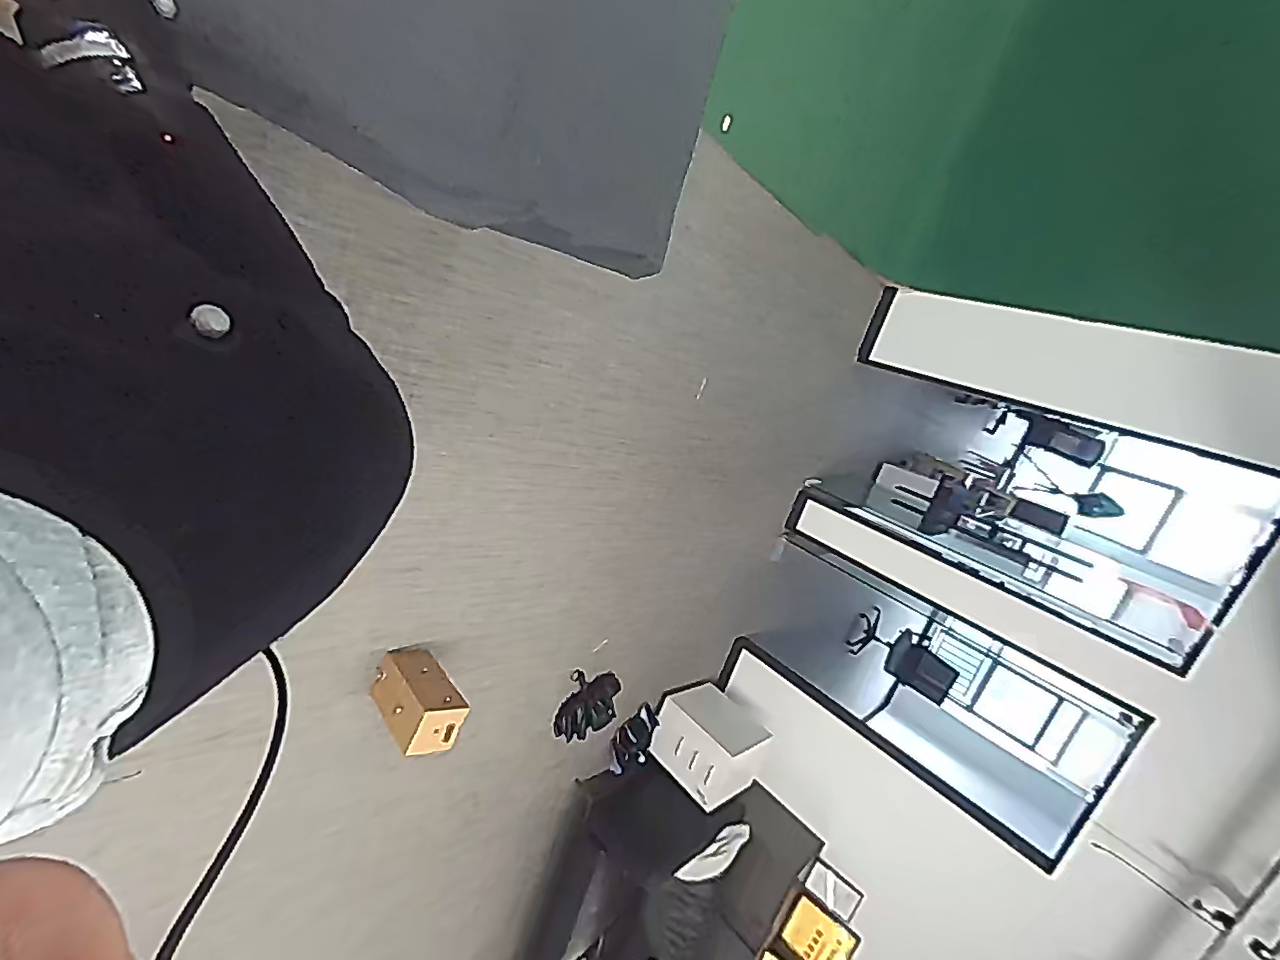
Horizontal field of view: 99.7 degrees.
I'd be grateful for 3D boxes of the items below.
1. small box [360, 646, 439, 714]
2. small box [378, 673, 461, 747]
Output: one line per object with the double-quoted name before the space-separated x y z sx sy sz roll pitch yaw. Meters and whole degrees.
"small box" -0.871 0.713 1.951 0.179 0.176 0.168 20 96 -51
"small box" -0.757 0.778 1.851 0.179 0.176 0.168 22 95 -52
